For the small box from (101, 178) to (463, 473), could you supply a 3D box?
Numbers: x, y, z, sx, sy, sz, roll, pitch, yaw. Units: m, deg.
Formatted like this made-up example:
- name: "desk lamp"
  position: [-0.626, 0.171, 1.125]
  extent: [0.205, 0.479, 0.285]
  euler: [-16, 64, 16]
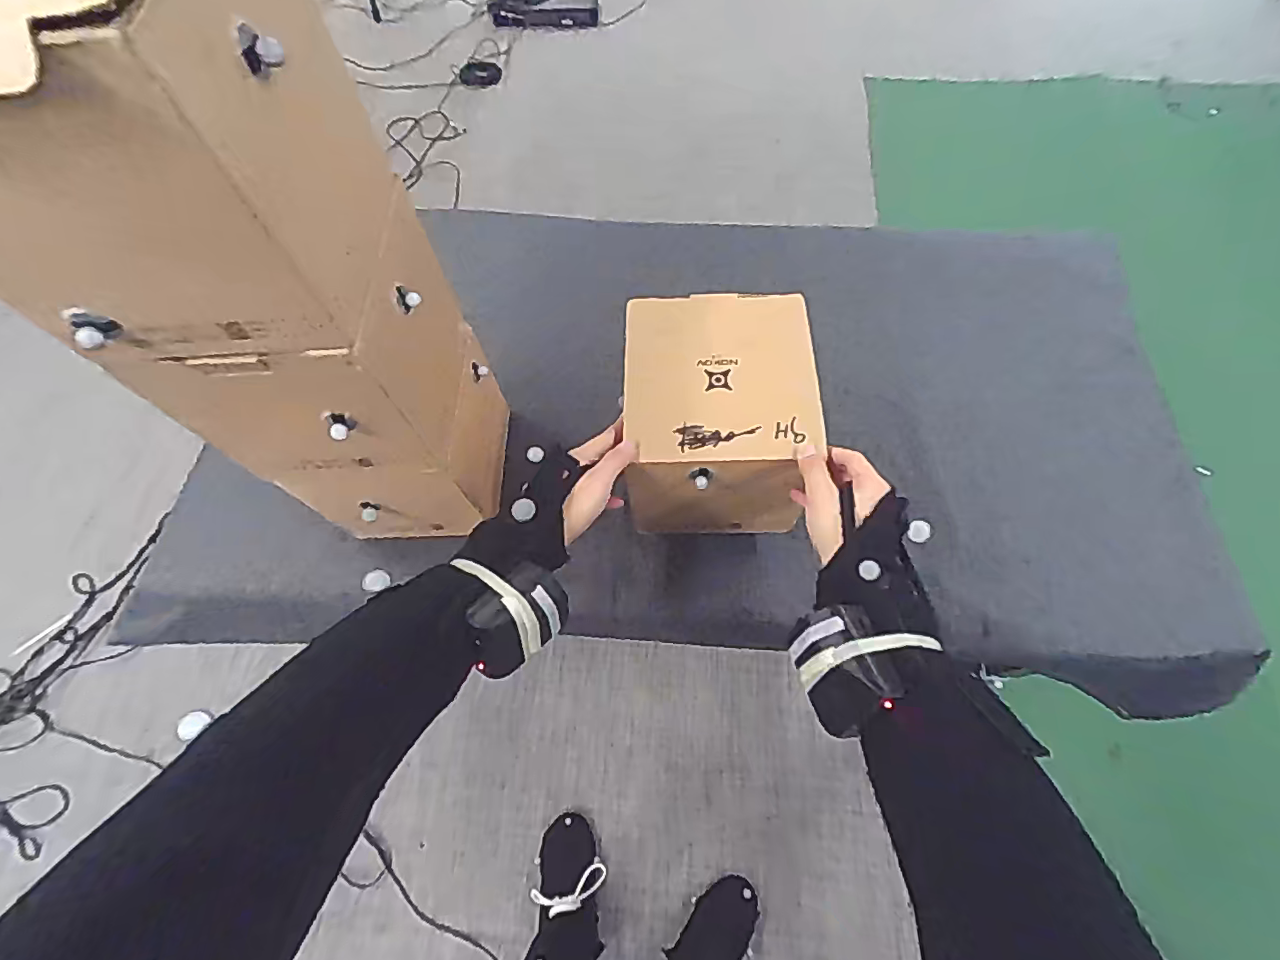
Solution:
- name: "small box"
  position: [-0.258, -0.114, 0.446]
  extent: [0.168, 0.176, 0.179]
  euler: [-2, 62, -1]

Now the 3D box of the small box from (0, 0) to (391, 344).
- name: "small box"
  position: [-0.261, -0.190, 0.300]
  extent: [0.168, 0.176, 0.179]
  euler: [-3, 62, -1]

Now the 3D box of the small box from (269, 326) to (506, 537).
- name: "small box"
  position: [-0.252, -0.042, 0.592]
  extent: [0.168, 0.176, 0.179]
  euler: [-2, 63, 1]

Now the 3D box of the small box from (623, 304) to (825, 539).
- name: "small box"
  position: [0.074, -0.052, 0.544]
  extent: [0.168, 0.176, 0.179]
  euler: [-1, 65, 4]
